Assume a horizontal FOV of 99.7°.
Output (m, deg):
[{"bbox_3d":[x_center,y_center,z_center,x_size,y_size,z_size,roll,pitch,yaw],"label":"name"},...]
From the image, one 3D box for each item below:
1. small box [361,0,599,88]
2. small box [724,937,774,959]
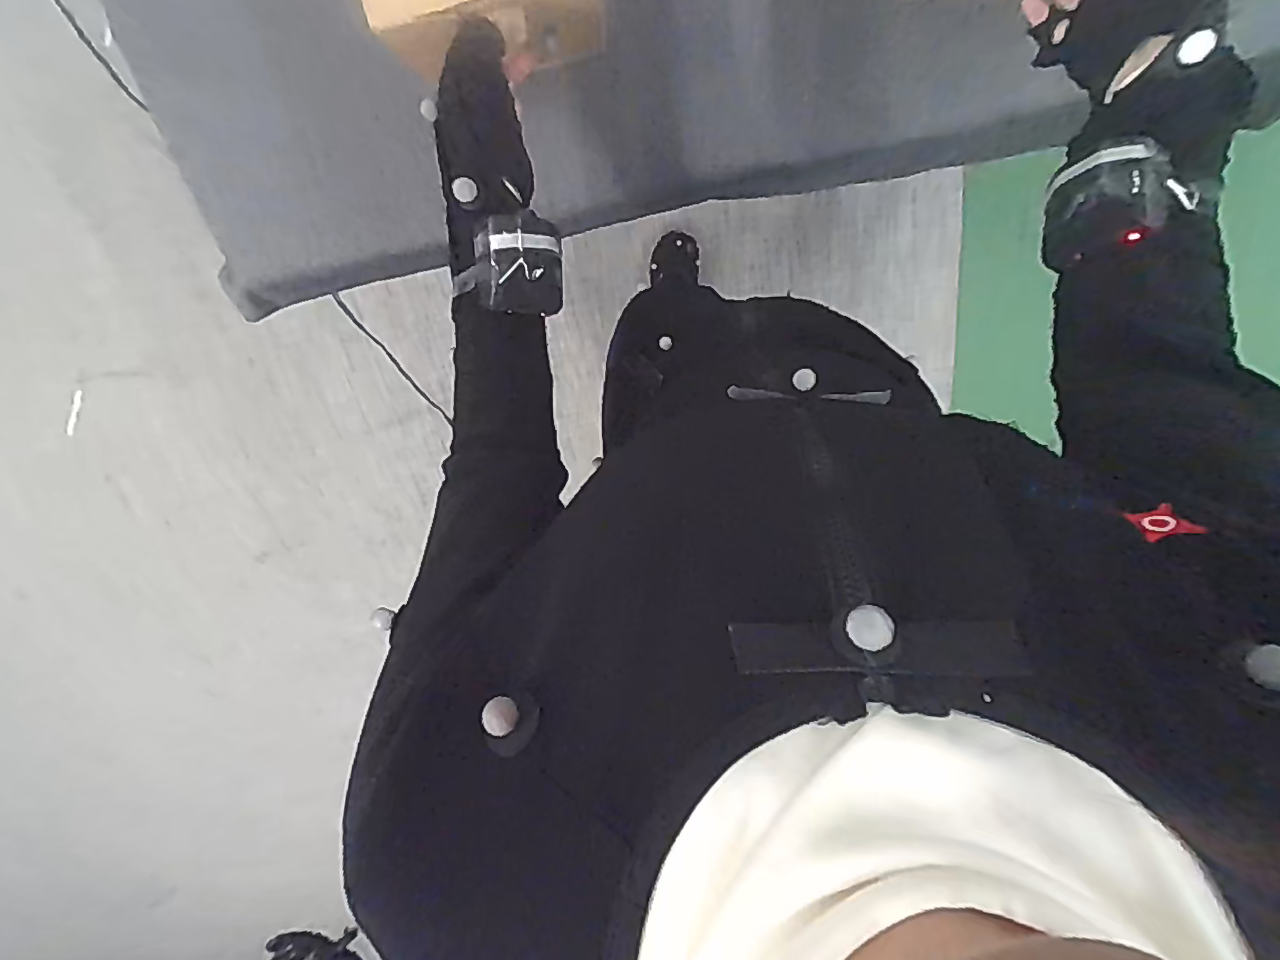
[{"bbox_3d":[-0.130,-0.435,0.419,0.168,0.176,0.179,-13,112,3],"label":"small box"},{"bbox_3d":[0.397,1.769,1.912,0.179,0.176,0.168,-11,109,4],"label":"small box"}]
